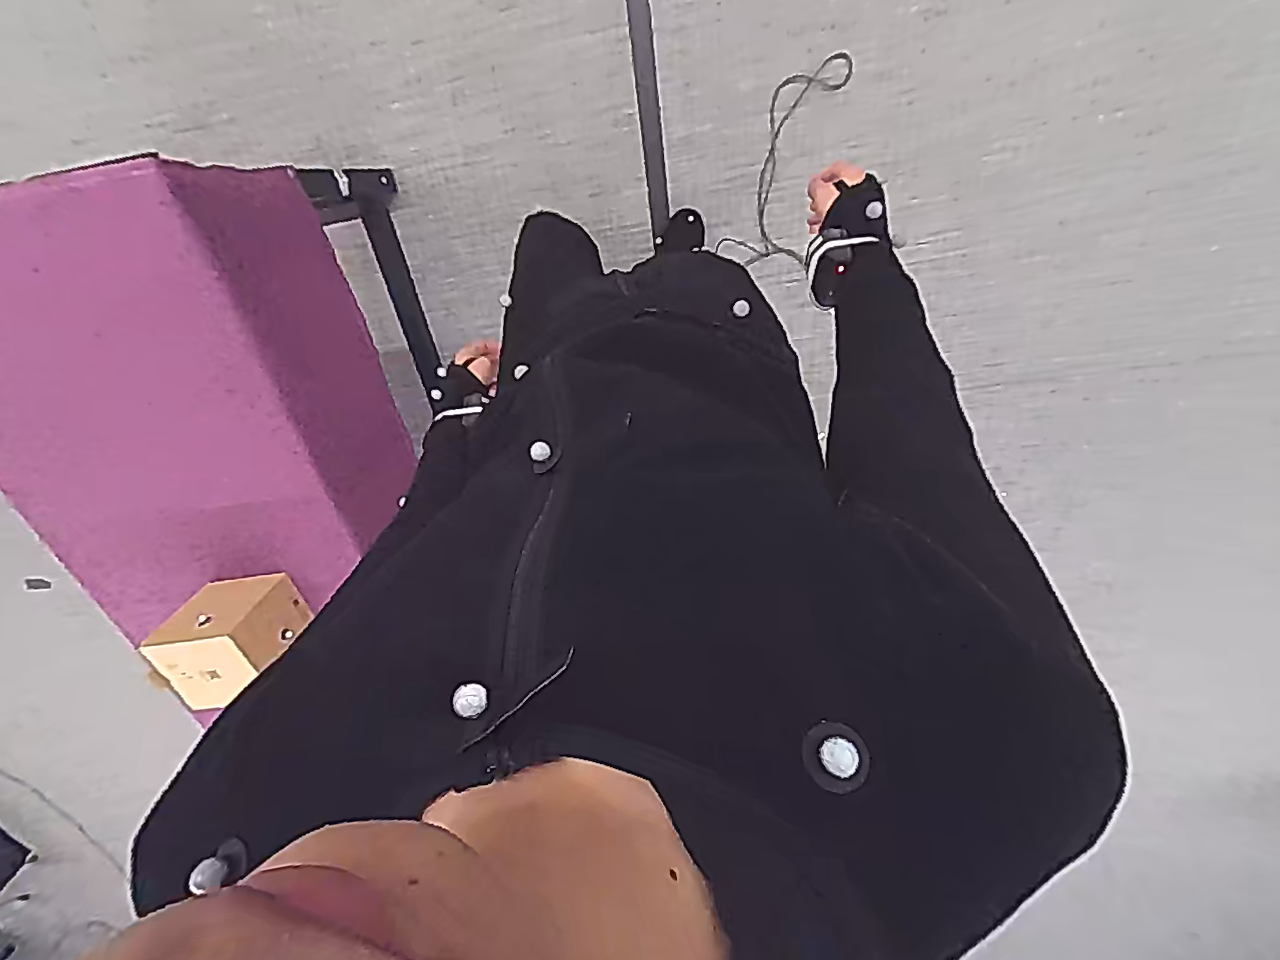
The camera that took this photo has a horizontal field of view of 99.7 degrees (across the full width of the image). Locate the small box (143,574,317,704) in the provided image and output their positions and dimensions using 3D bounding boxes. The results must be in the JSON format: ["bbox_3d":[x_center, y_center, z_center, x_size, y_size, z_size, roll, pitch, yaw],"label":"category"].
[{"bbox_3d":[-0.753,0.296,1.025,0.179,0.176,0.168,-8,119,7],"label":"small box"}]
